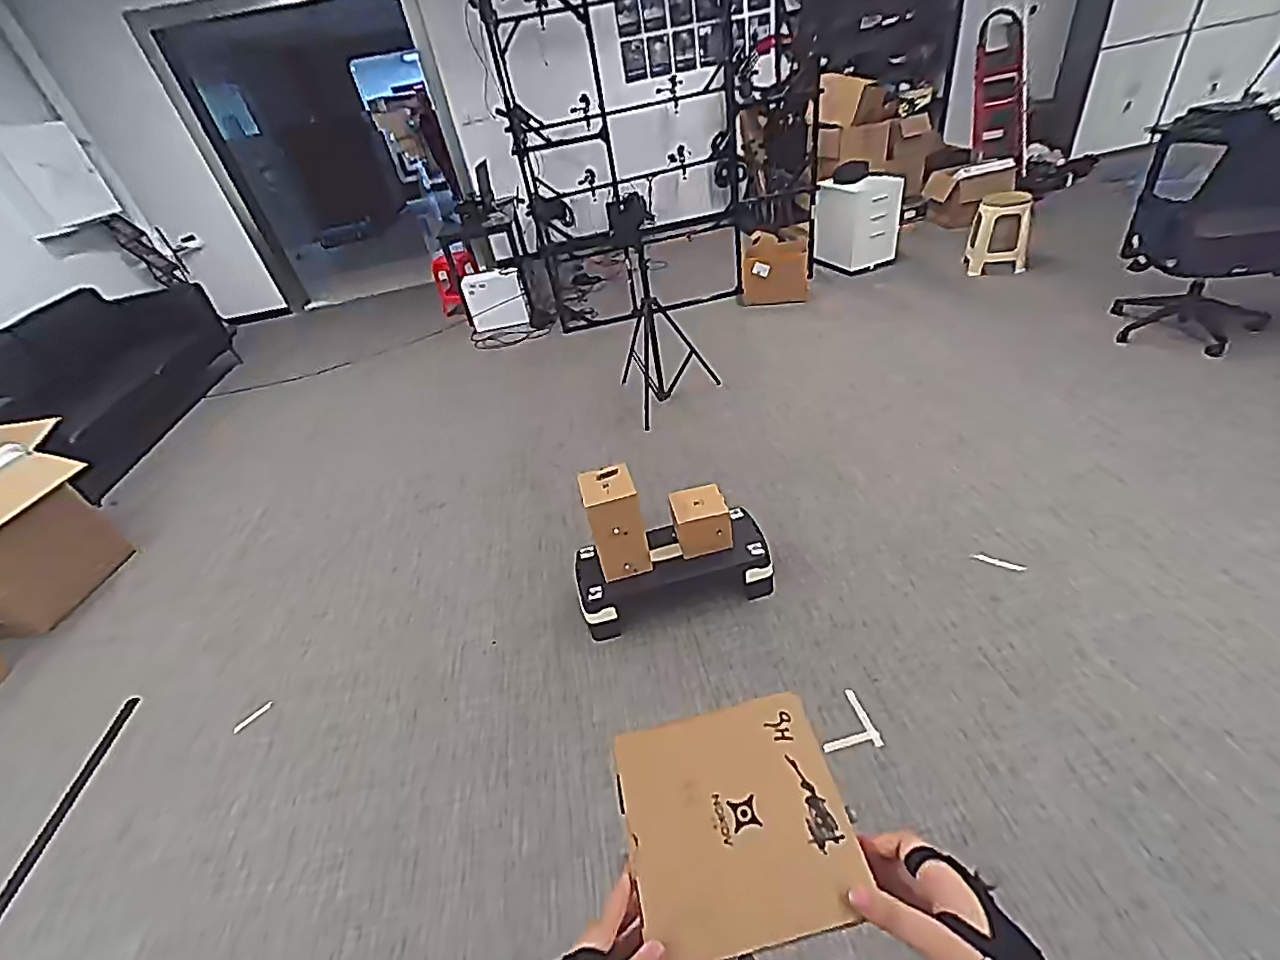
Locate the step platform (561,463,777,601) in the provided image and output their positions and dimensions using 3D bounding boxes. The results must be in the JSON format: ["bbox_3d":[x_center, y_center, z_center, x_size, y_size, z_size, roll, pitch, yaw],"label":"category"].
[{"bbox_3d":[0.094,0.169,1.789,0.684,0.204,0.286,-14,36,-4],"label":"step platform"}]

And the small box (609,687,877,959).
[{"bbox_3d":[0.080,0.316,0.489,0.179,0.176,0.168,-12,47,-4],"label":"small box"}]

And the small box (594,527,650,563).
[{"bbox_3d":[-0.069,0.210,1.838,0.168,0.176,0.179,-14,37,-4],"label":"small box"}]

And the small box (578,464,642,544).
[{"bbox_3d":[-0.097,0.078,1.744,0.168,0.176,0.179,-15,37,-5],"label":"small box"}]

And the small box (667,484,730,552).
[{"bbox_3d":[0.203,0.142,1.857,0.179,0.176,0.168,-14,36,-4],"label":"small box"}]
